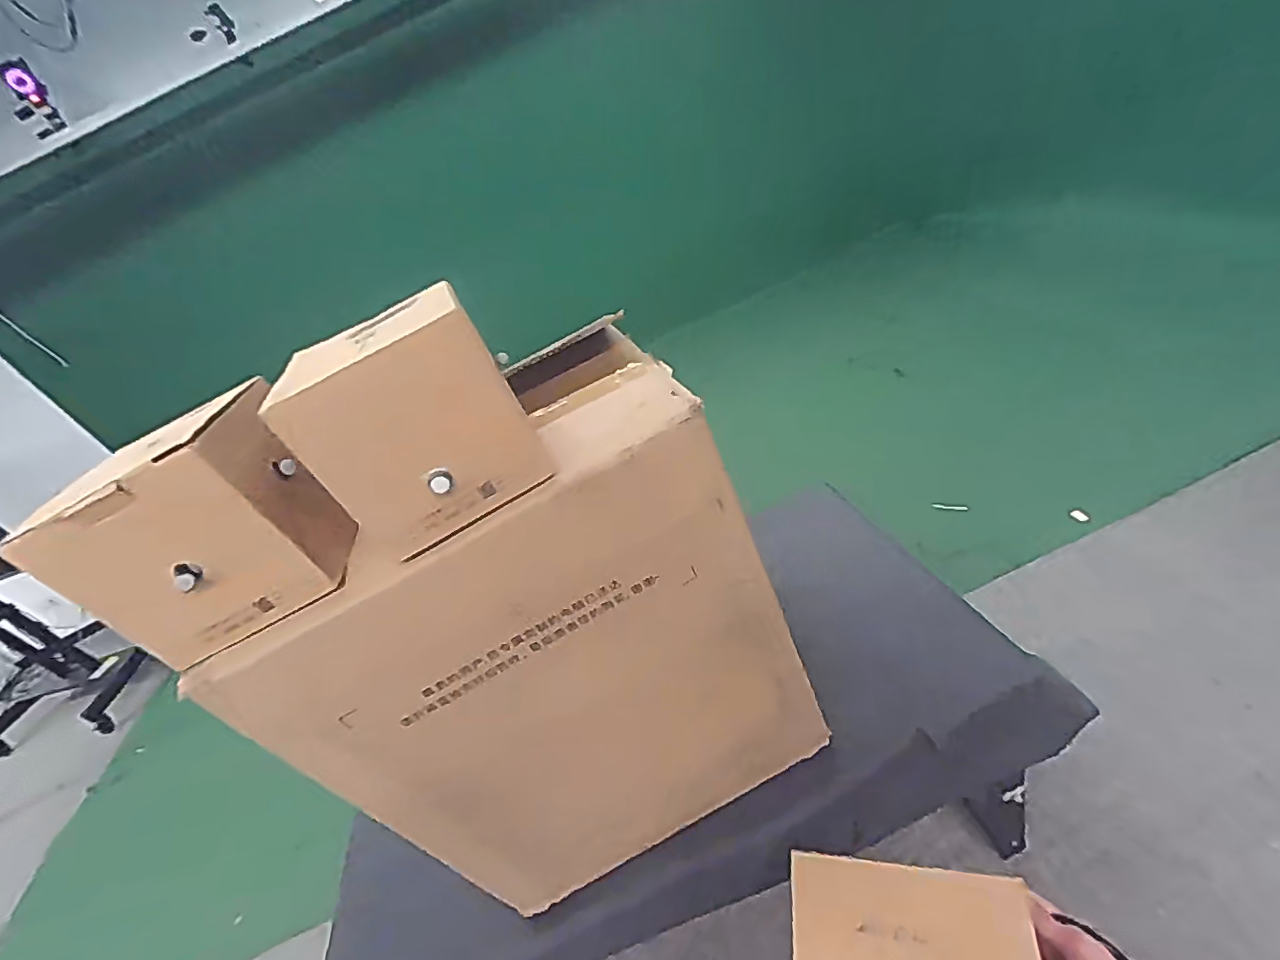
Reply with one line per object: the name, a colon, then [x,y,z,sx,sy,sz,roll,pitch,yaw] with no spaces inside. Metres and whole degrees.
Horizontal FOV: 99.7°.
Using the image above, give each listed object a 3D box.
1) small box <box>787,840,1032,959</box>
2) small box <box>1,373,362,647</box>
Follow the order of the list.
small box: [0.219,0.411,0.432,0.168,0.176,0.179,-9,48,22]
small box: [-0.397,0.032,0.516,0.168,0.176,0.179,-28,33,-1]
